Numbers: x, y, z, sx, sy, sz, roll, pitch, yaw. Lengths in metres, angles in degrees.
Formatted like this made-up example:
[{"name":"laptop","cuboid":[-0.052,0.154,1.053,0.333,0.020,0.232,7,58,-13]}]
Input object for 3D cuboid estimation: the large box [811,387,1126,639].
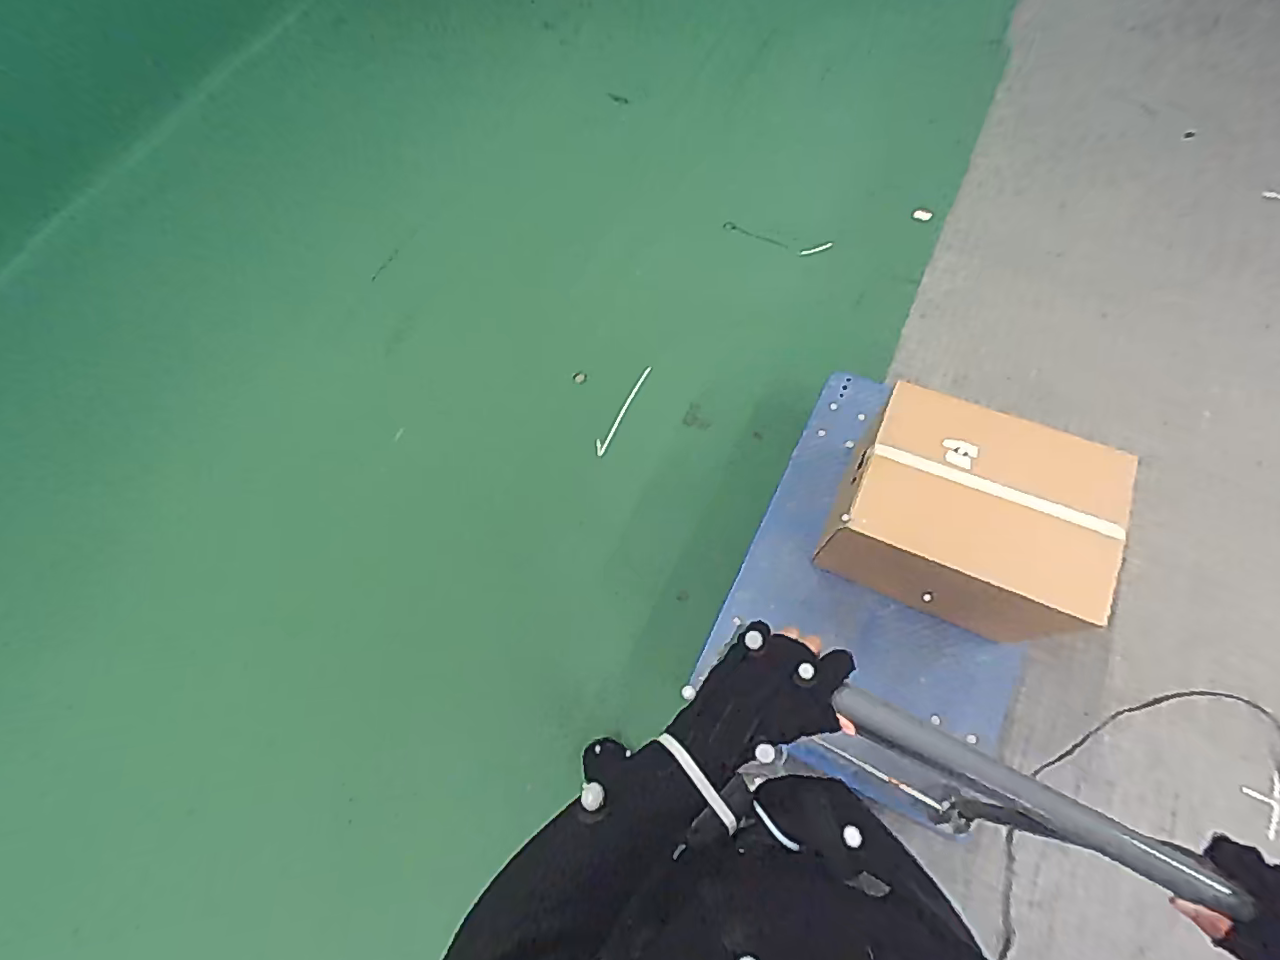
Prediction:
[{"name":"large box","cuboid":[0.599,0.078,1.055,0.408,0.320,0.320,22,73,16]}]
